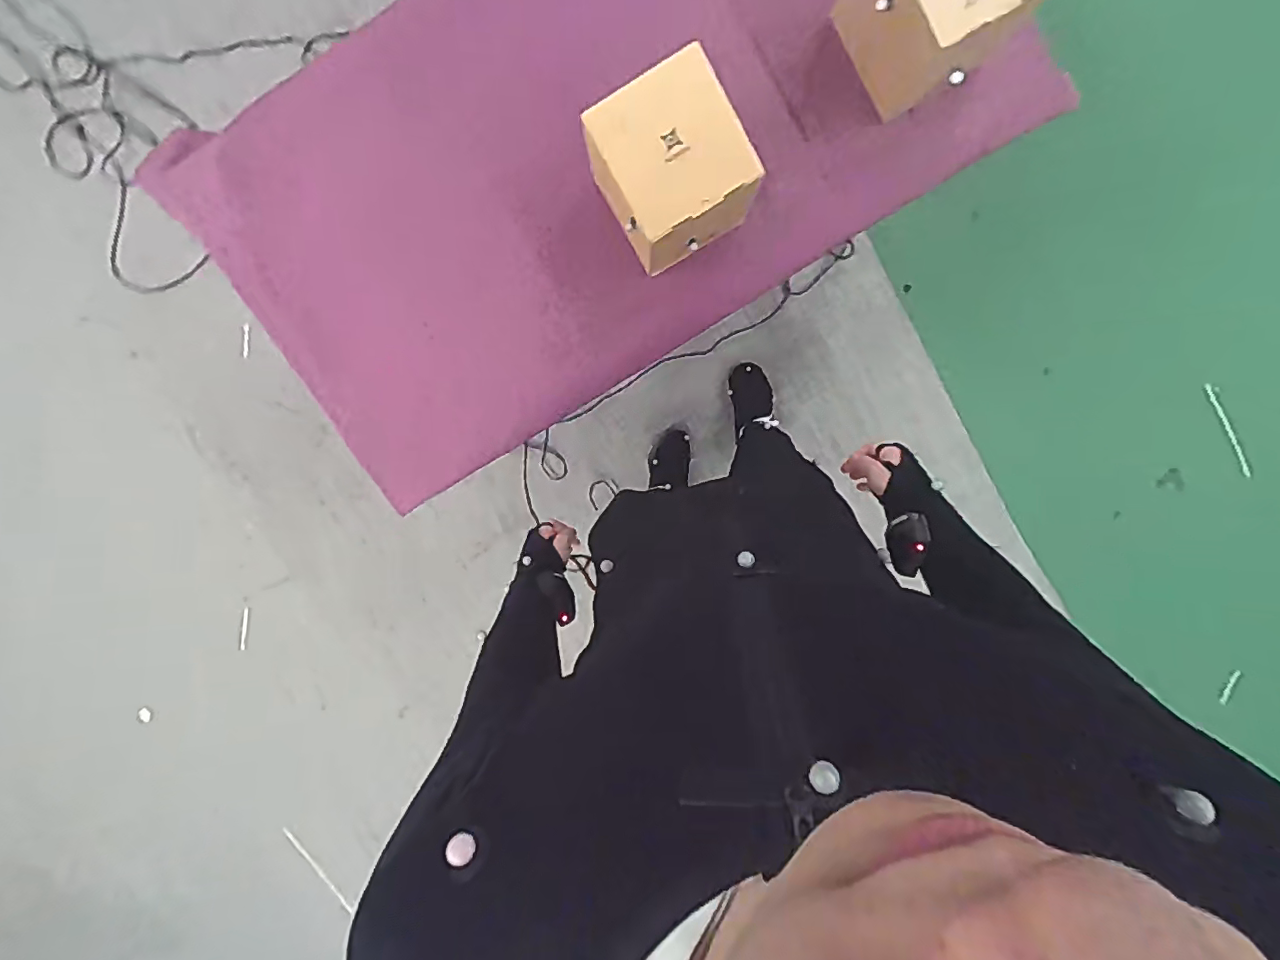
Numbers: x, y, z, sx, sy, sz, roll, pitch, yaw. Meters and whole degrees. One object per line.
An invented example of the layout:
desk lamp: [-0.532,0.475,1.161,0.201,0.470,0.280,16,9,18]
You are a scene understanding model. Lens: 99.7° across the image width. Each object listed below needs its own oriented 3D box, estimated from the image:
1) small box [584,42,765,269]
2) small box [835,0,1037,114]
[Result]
small box: [0.042,-0.423,0.739,0.168,0.176,0.179,-30,96,4]
small box: [0.383,-0.635,0.702,0.168,0.176,0.179,-30,96,6]
